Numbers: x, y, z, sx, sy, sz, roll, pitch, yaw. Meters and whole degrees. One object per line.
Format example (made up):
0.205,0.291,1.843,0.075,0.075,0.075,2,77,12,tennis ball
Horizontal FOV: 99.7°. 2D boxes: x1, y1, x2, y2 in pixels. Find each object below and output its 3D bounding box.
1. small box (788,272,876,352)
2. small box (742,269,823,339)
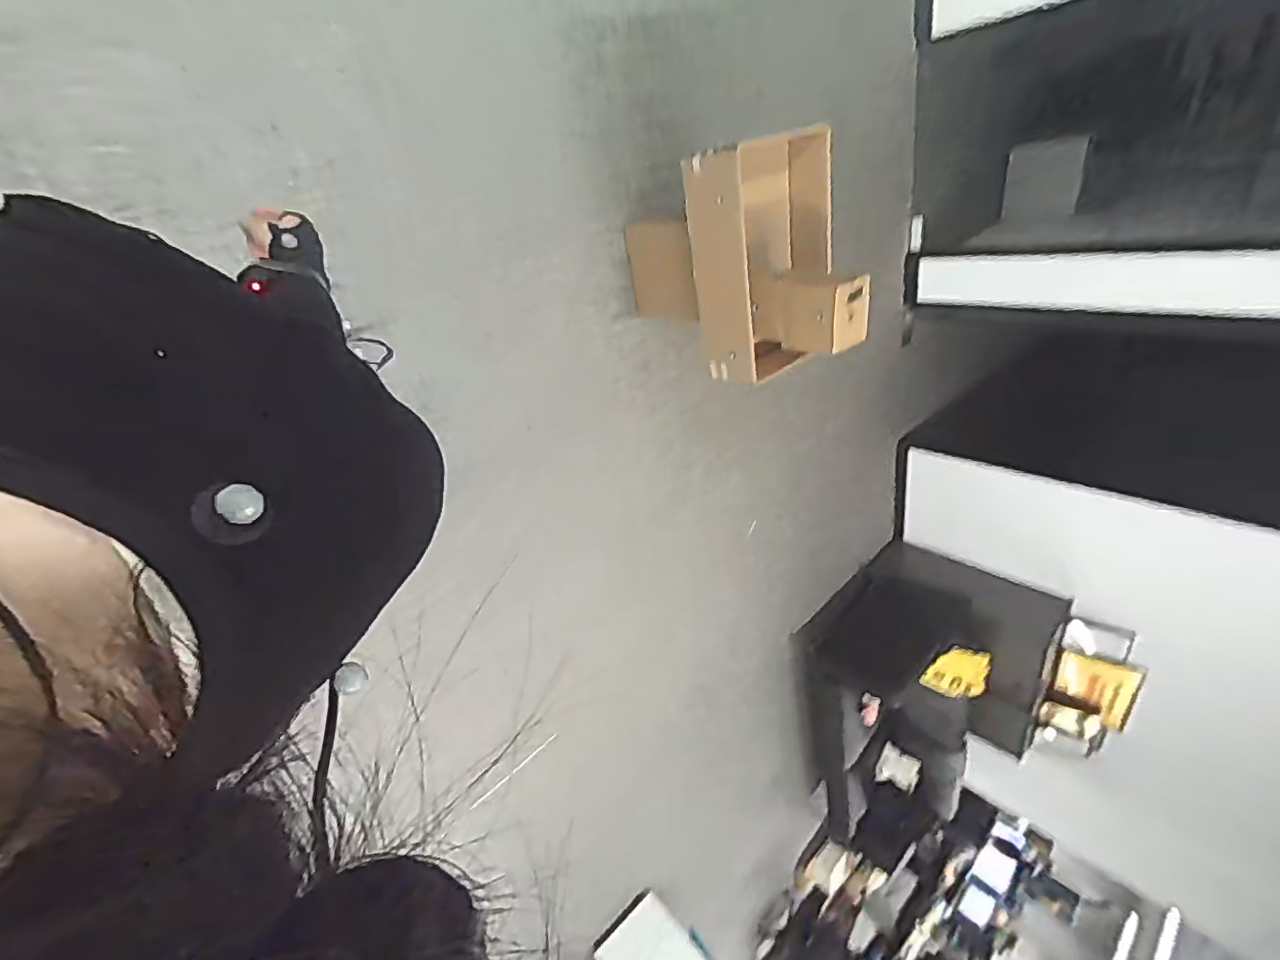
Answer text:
0.518,-0.461,1.473,0.168,0.176,0.179,-28,124,-31,small box
0.413,-0.520,1.585,0.179,0.176,0.168,-26,123,-32,small box
